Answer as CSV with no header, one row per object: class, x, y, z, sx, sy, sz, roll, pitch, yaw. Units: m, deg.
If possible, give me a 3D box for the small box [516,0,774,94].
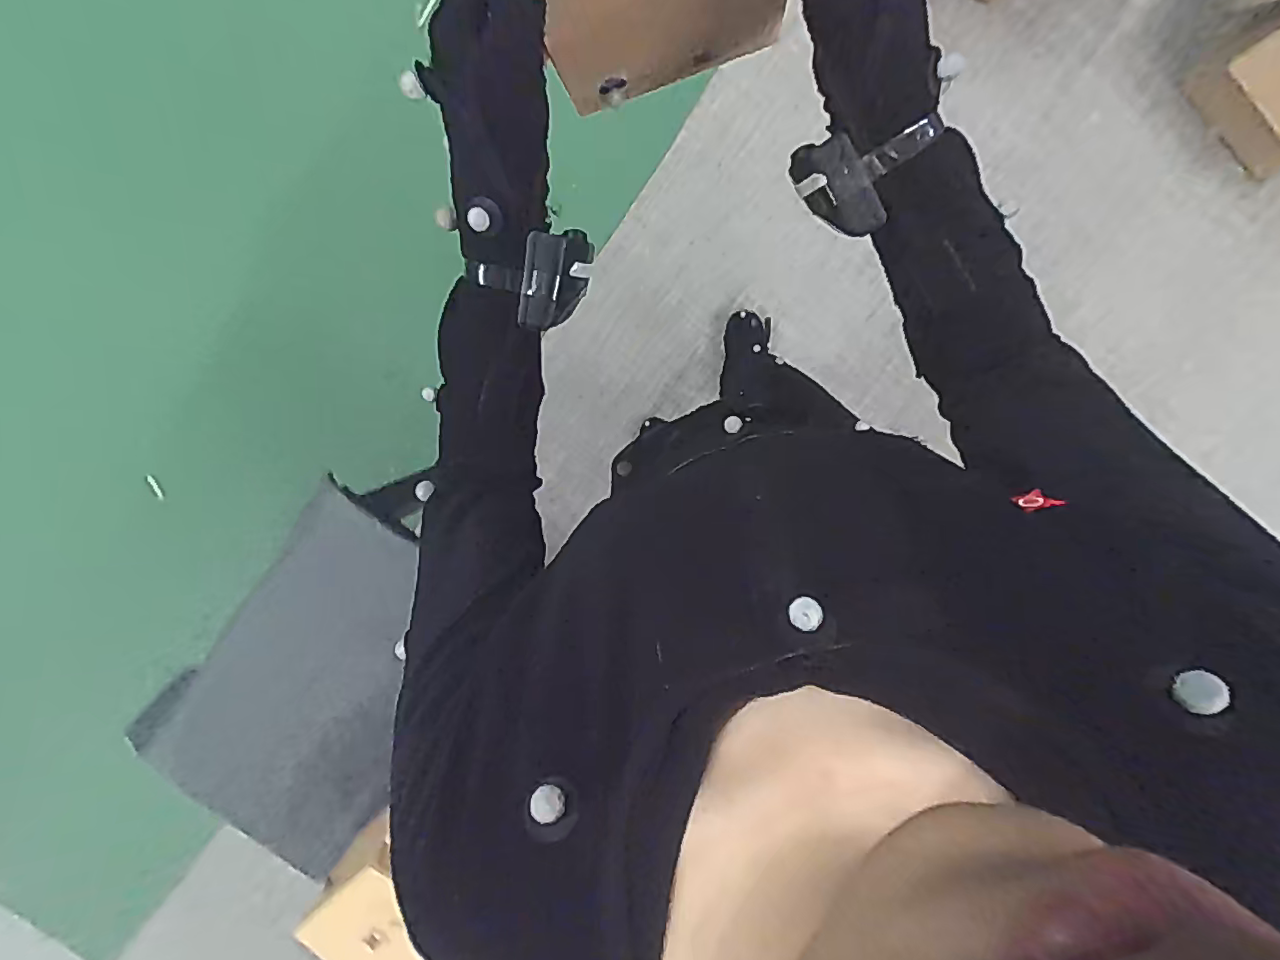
small box,-0.005,-0.384,0.340,0.168,0.176,0.179,-13,98,8
